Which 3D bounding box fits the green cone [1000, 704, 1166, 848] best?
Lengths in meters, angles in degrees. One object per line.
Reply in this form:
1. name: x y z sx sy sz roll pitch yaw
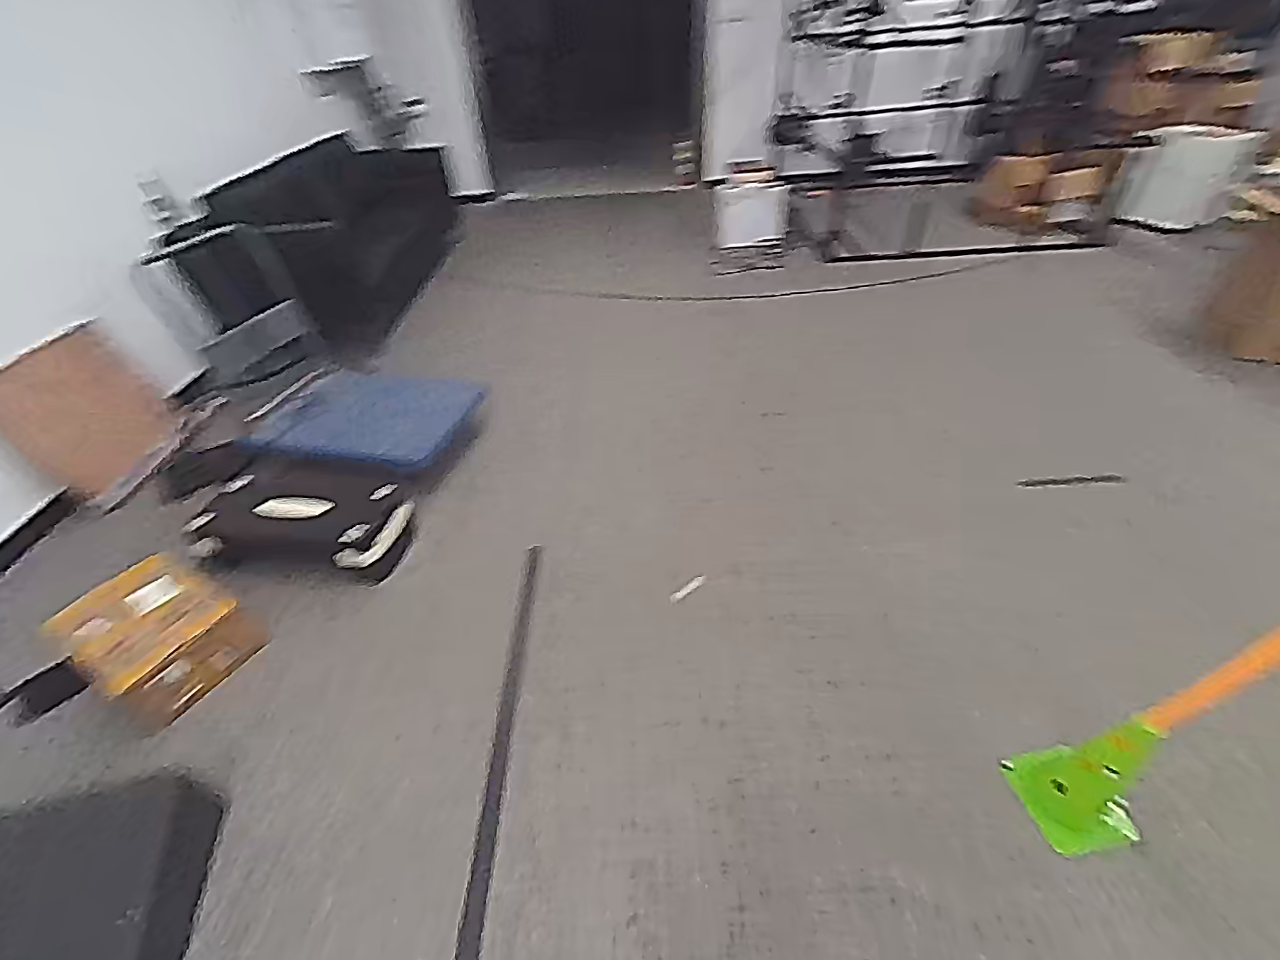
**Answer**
1. green cone: 0.958 0.577 1.118 0.202 0.368 0.200 -9 40 -9
